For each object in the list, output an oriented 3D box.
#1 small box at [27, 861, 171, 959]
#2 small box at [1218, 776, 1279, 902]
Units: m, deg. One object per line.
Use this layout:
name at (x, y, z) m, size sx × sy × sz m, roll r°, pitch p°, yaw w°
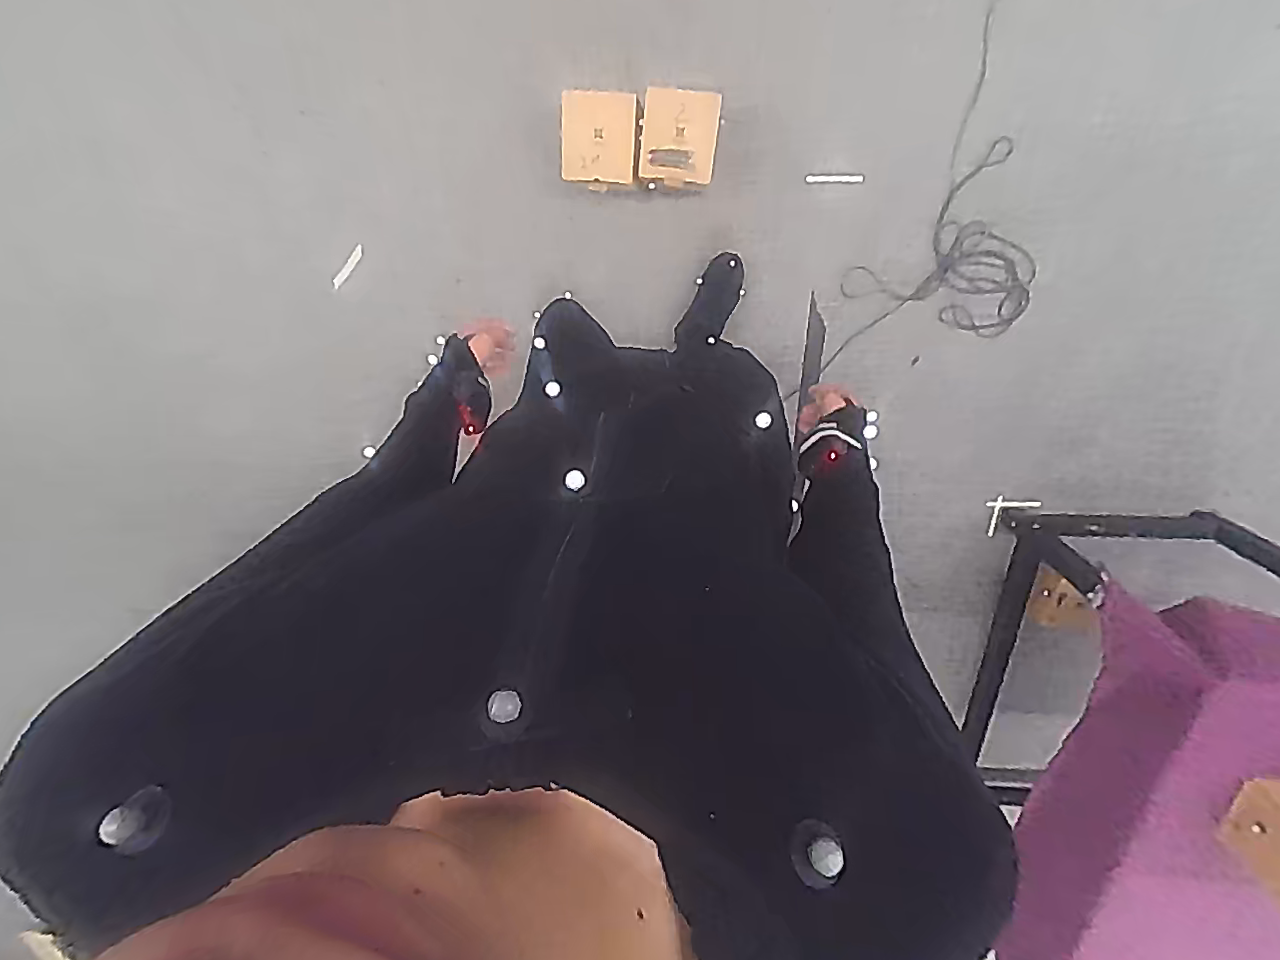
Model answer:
small box at (-1.380, 1.123, 1.395) m, size 0.168 × 0.176 × 0.179 m, roll 1°, pitch 115°, yaw 7°
small box at (1.243, 0.668, 0.982) m, size 0.179 × 0.176 × 0.168 m, roll 1°, pitch 113°, yaw 5°
